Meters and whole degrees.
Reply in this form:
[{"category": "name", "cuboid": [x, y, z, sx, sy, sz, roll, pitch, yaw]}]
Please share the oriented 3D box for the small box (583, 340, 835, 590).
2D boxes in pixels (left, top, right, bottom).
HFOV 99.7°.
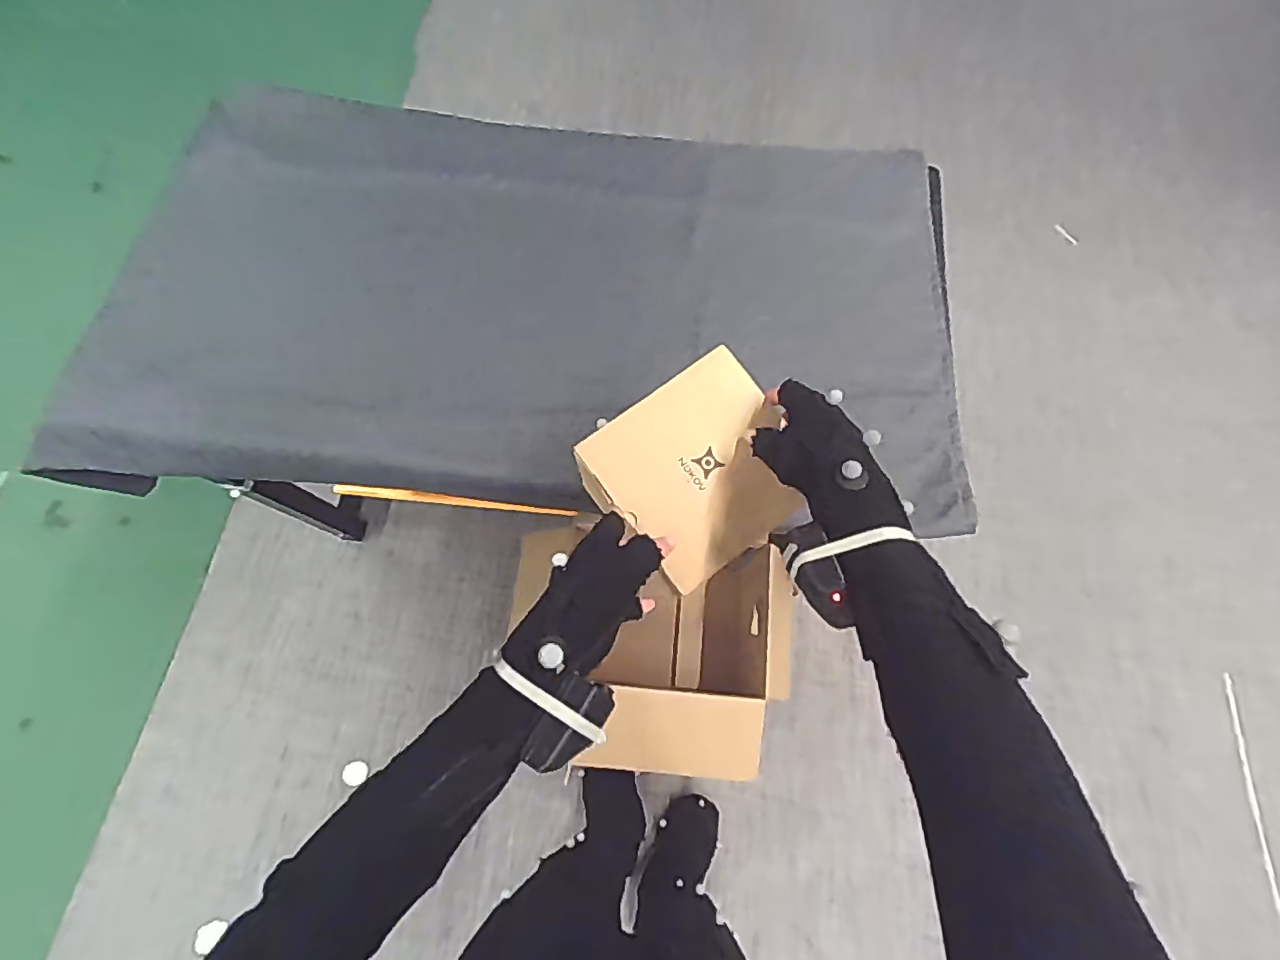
[{"category": "small box", "cuboid": [0.058, -0.007, 0.563, 0.179, 0.176, 0.168, -37, 84, -7]}]
